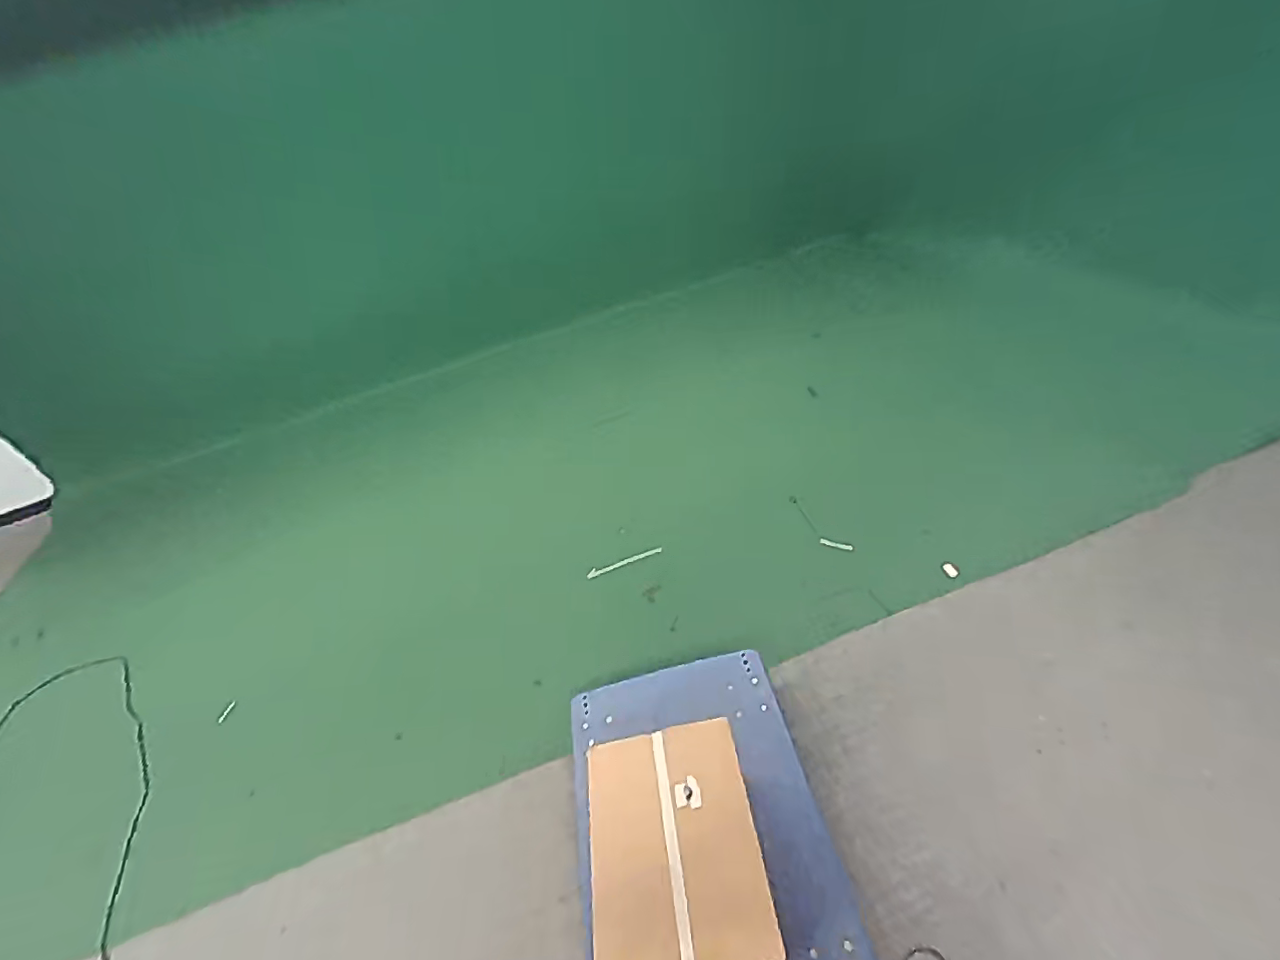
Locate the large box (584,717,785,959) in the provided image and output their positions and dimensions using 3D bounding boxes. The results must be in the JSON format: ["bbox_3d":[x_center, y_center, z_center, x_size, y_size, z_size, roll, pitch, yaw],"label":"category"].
[{"bbox_3d":[0.084,0.779,1.108,0.320,0.320,0.408,-14,38,3],"label":"large box"}]
